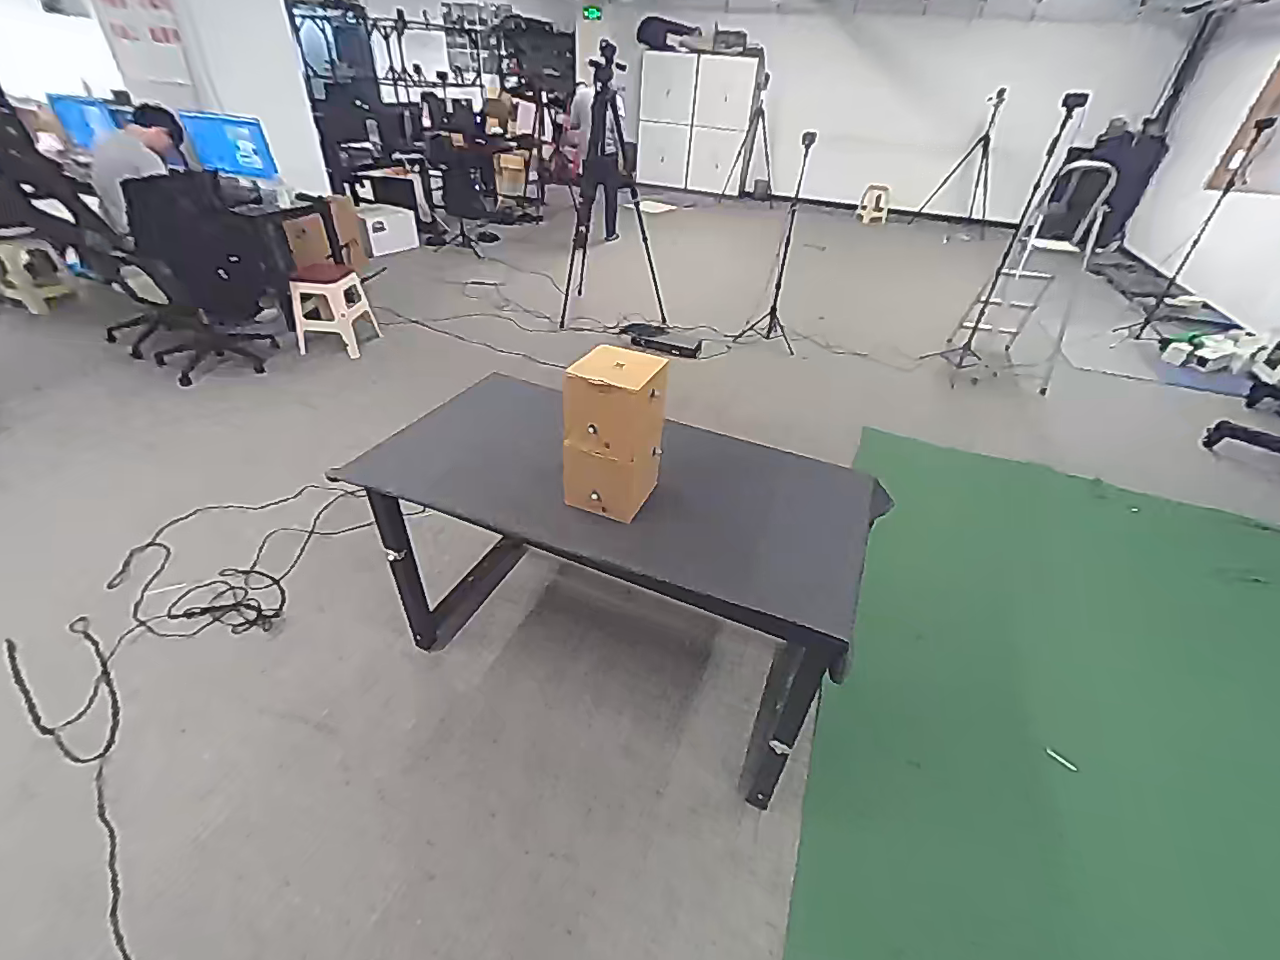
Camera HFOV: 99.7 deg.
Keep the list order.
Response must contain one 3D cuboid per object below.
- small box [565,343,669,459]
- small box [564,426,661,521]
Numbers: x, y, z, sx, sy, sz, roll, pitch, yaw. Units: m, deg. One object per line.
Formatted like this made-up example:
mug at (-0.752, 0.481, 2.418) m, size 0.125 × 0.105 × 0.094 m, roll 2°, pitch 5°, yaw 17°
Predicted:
small box at (-0.051, -0.170, 1.159) m, size 0.168 × 0.176 × 0.179 m, roll 17°, pitch 38°, yaw 16°
small box at (-0.064, -0.036, 1.249) m, size 0.168 × 0.176 × 0.179 m, roll 17°, pitch 38°, yaw 17°
